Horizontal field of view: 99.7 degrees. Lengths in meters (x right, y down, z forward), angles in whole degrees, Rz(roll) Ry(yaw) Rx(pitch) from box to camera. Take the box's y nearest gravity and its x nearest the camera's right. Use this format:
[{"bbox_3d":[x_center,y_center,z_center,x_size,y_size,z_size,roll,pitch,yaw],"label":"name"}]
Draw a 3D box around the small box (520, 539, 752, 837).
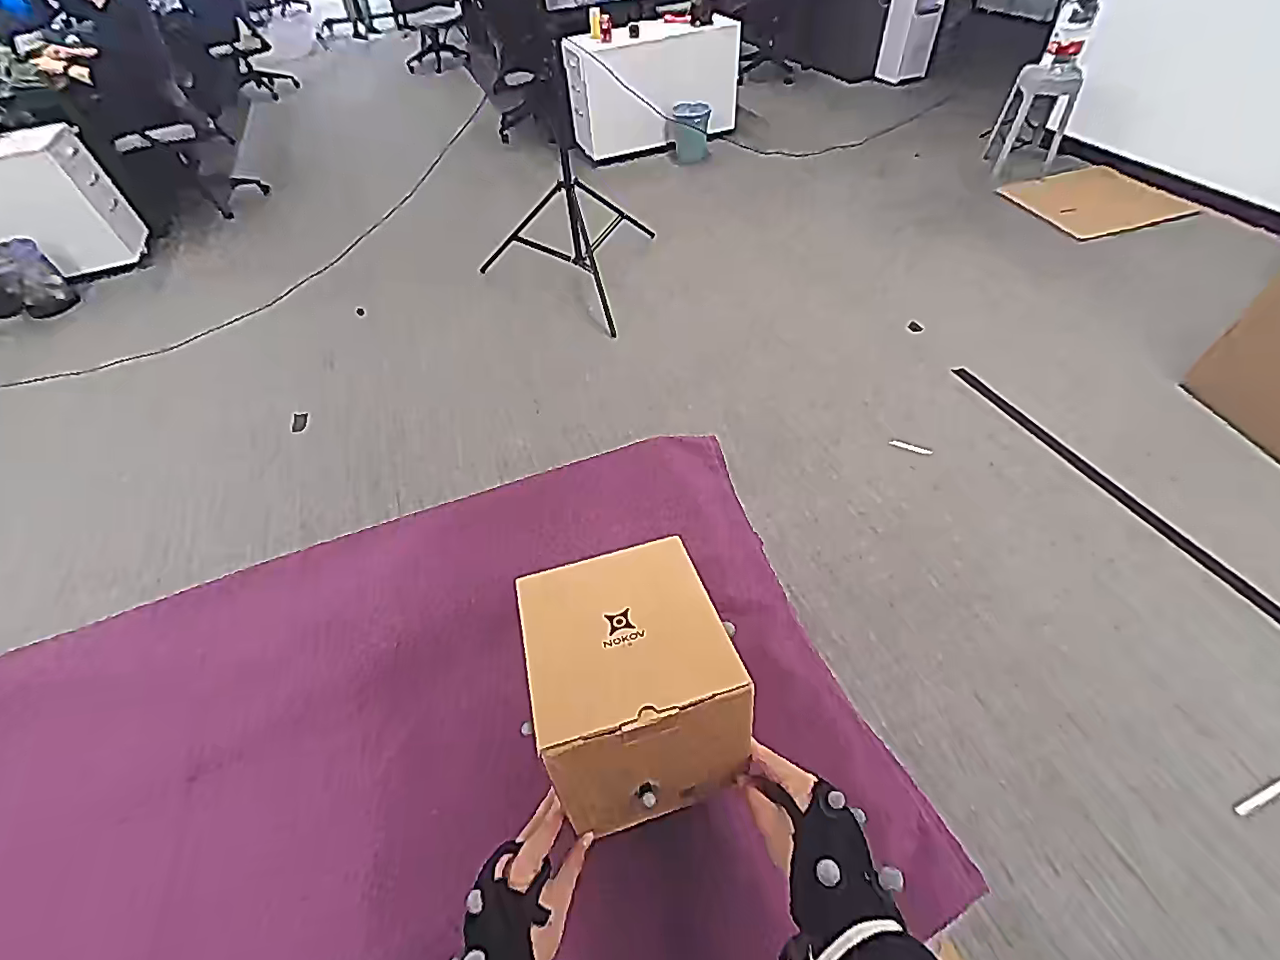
[{"bbox_3d":[-0.008,0.189,0.509,0.168,0.176,0.179,-15,38,-9],"label":"small box"}]
